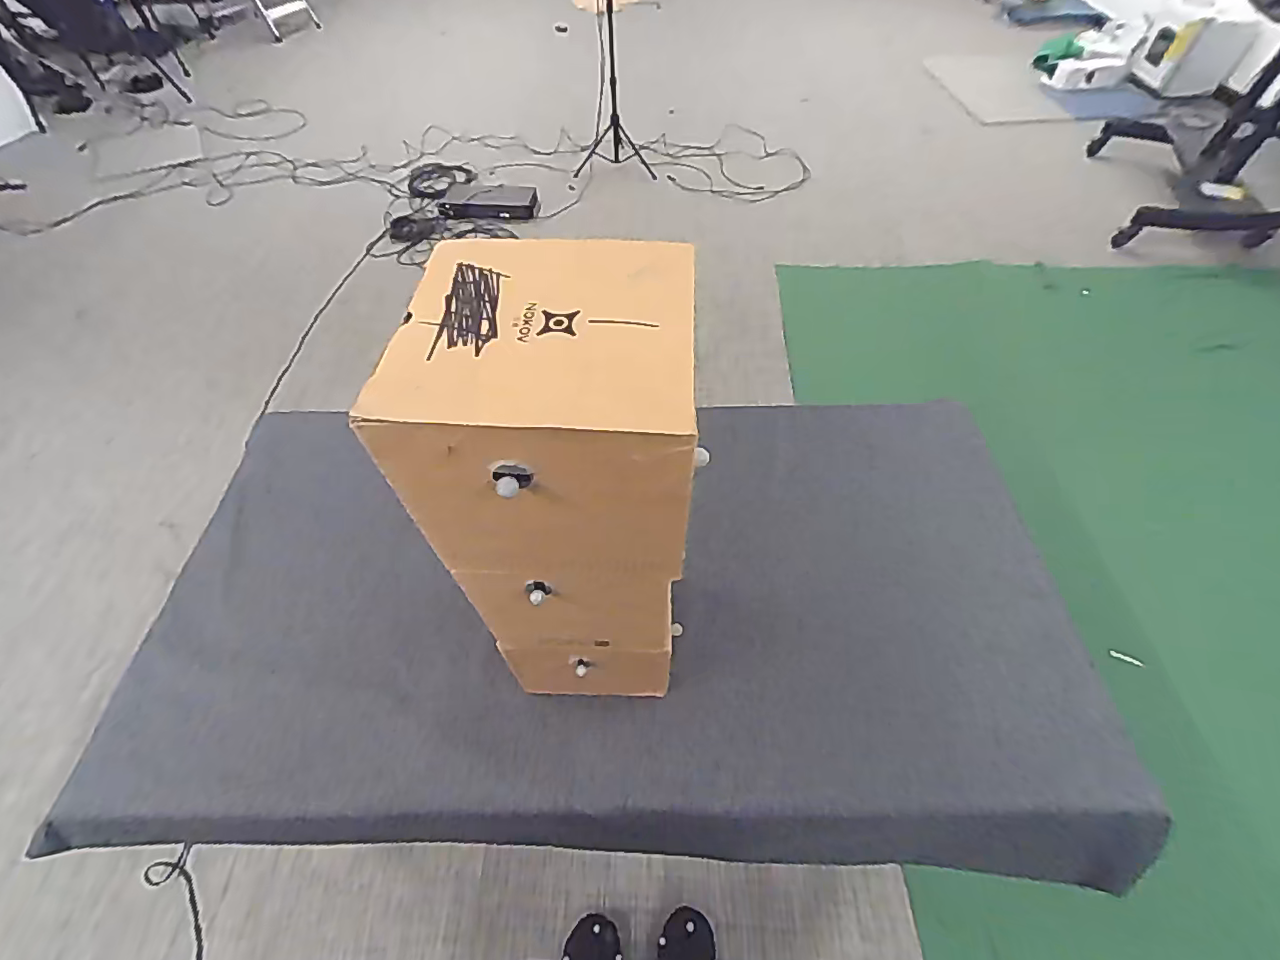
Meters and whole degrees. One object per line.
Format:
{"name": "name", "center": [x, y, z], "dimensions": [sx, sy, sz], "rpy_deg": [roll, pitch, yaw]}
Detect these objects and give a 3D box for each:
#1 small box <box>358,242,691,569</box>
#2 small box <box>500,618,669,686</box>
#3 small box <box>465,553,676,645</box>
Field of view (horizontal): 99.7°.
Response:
{"name": "small box", "center": [-0.056, -0.047, 0.389], "dimensions": [0.179, 0.176, 0.168], "rpy_deg": [3, 55, 3]}
{"name": "small box", "center": [-0.053, 0.144, 0.656], "dimensions": [0.179, 0.176, 0.168], "rpy_deg": [1, 54, 1]}
{"name": "small box", "center": [-0.054, 0.046, 0.527], "dimensions": [0.168, 0.176, 0.179], "rpy_deg": [0, 55, 0]}
